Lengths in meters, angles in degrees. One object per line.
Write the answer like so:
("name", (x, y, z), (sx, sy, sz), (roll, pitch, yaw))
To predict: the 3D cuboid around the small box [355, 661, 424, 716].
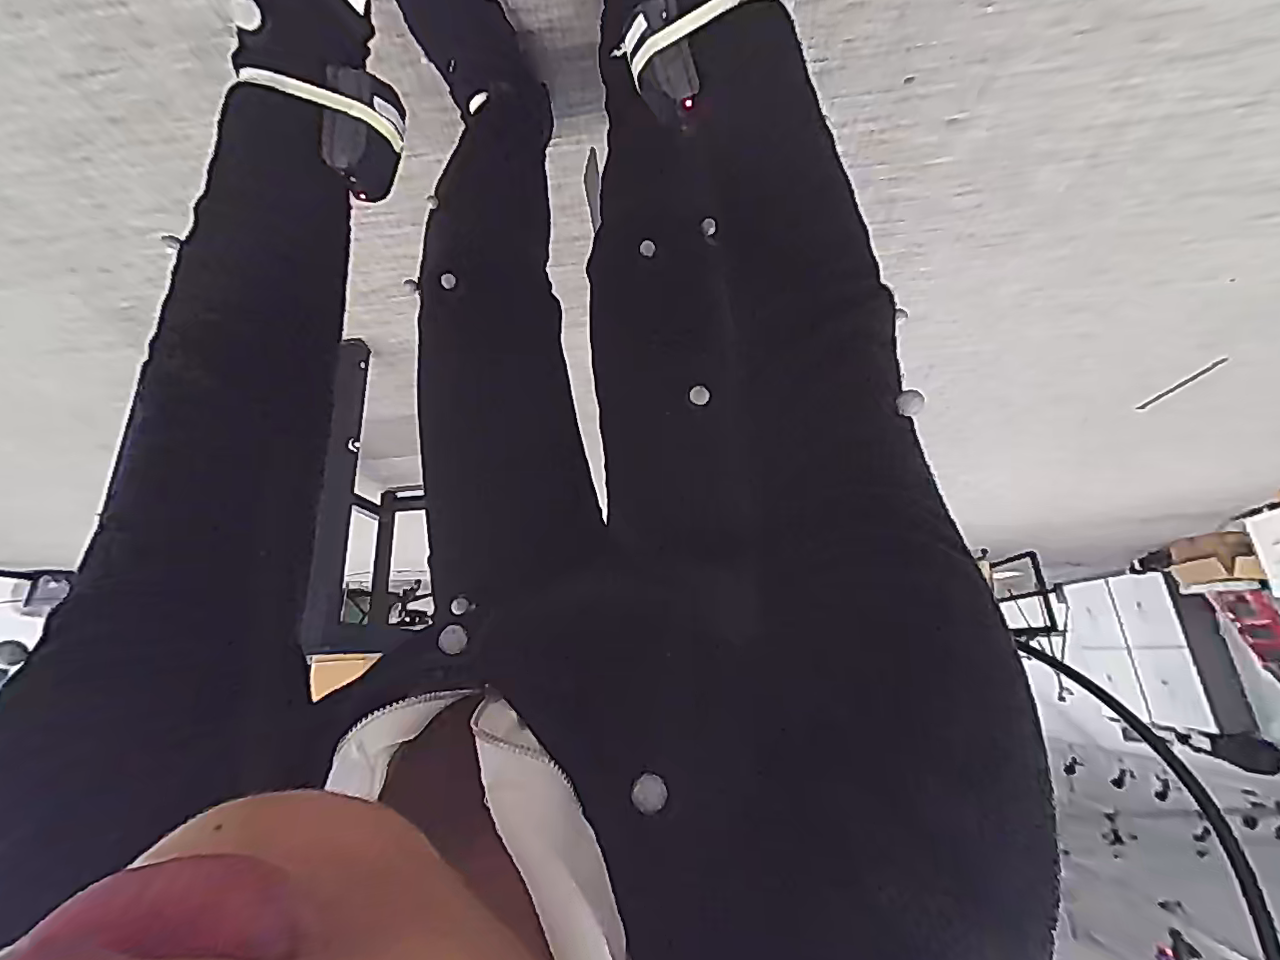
("small box", (-0.881, 0.734, 1.920), (0.179, 0.176, 0.168), (-4, 160, 1))
